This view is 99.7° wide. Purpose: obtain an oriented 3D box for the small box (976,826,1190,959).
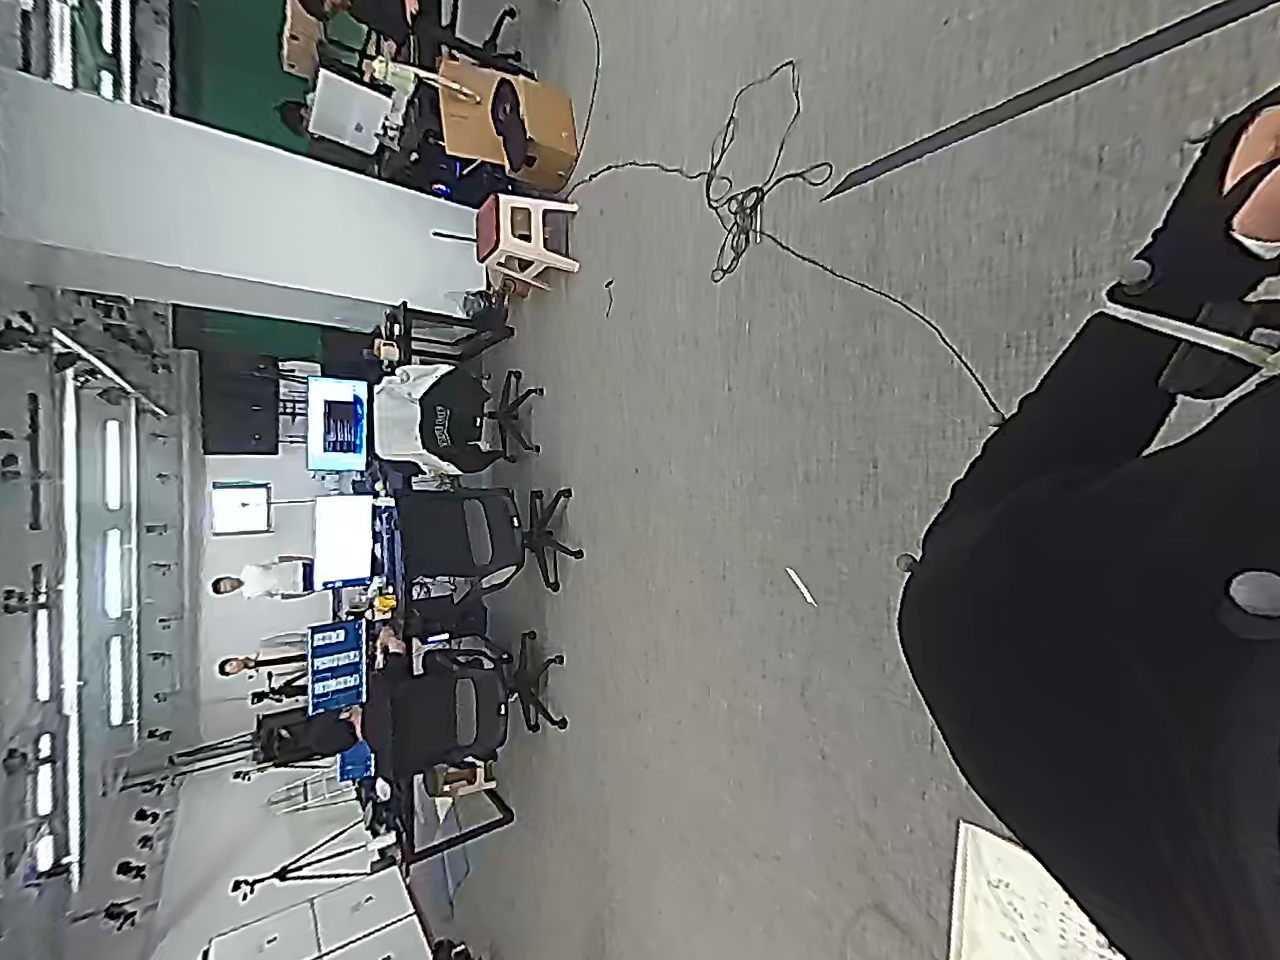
[{"bbox_3d":[0.551,0.585,0.676,0.168,0.176,0.179,6,93,55],"label":"small box"}]
